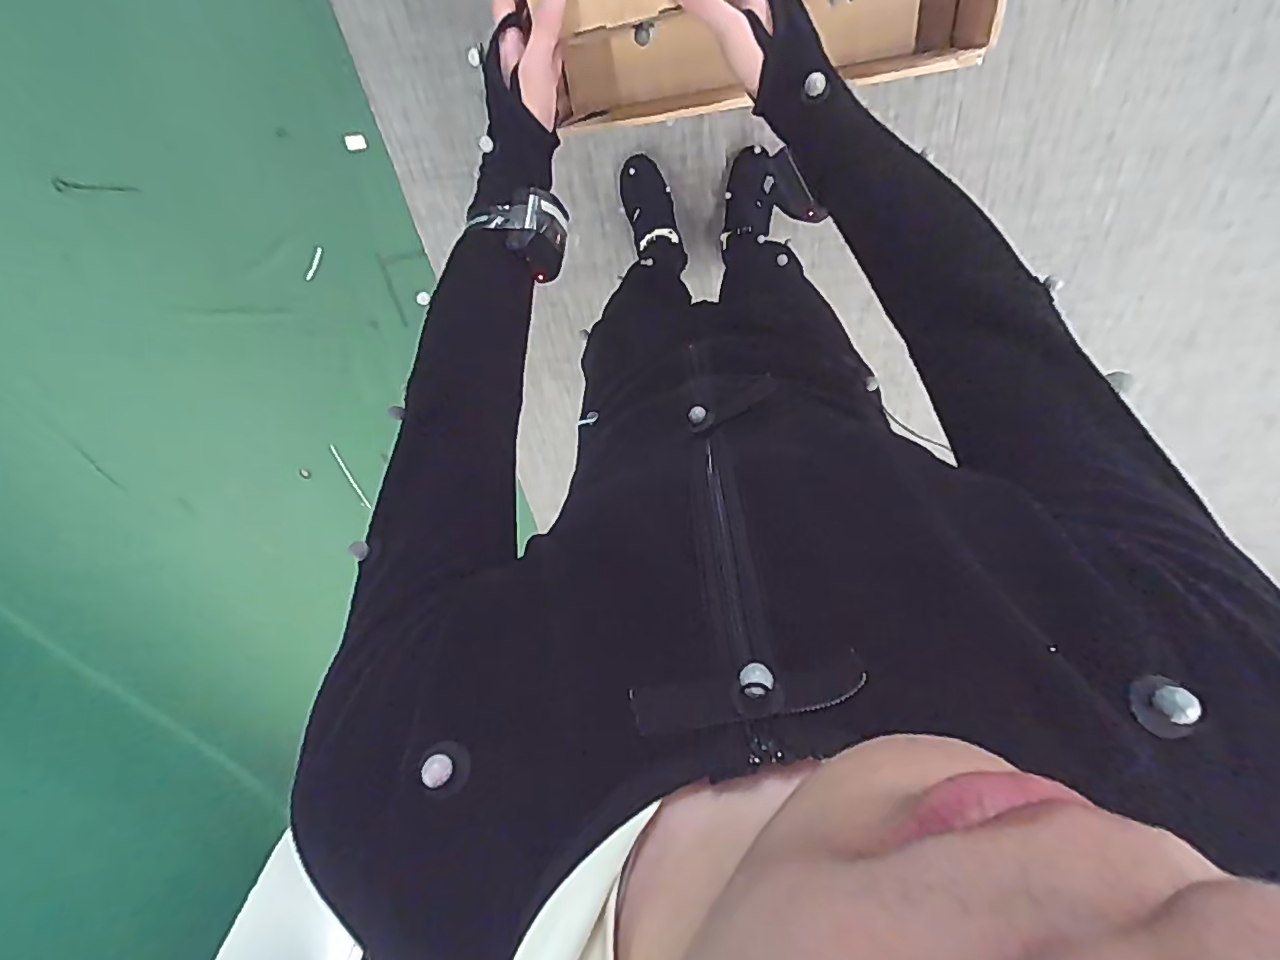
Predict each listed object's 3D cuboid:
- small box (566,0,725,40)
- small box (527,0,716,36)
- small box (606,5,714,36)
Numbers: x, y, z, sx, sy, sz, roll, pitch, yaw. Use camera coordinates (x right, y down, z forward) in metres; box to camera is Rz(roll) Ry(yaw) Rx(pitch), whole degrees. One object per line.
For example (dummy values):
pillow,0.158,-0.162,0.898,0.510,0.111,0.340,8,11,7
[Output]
small box,-0.006,-0.598,0.581,0.179,0.176,0.168,-7,128,10
small box,-0.018,-0.497,0.450,0.168,0.176,0.179,-6,129,11
small box,0.006,-0.701,0.707,0.179,0.176,0.168,-5,128,9
